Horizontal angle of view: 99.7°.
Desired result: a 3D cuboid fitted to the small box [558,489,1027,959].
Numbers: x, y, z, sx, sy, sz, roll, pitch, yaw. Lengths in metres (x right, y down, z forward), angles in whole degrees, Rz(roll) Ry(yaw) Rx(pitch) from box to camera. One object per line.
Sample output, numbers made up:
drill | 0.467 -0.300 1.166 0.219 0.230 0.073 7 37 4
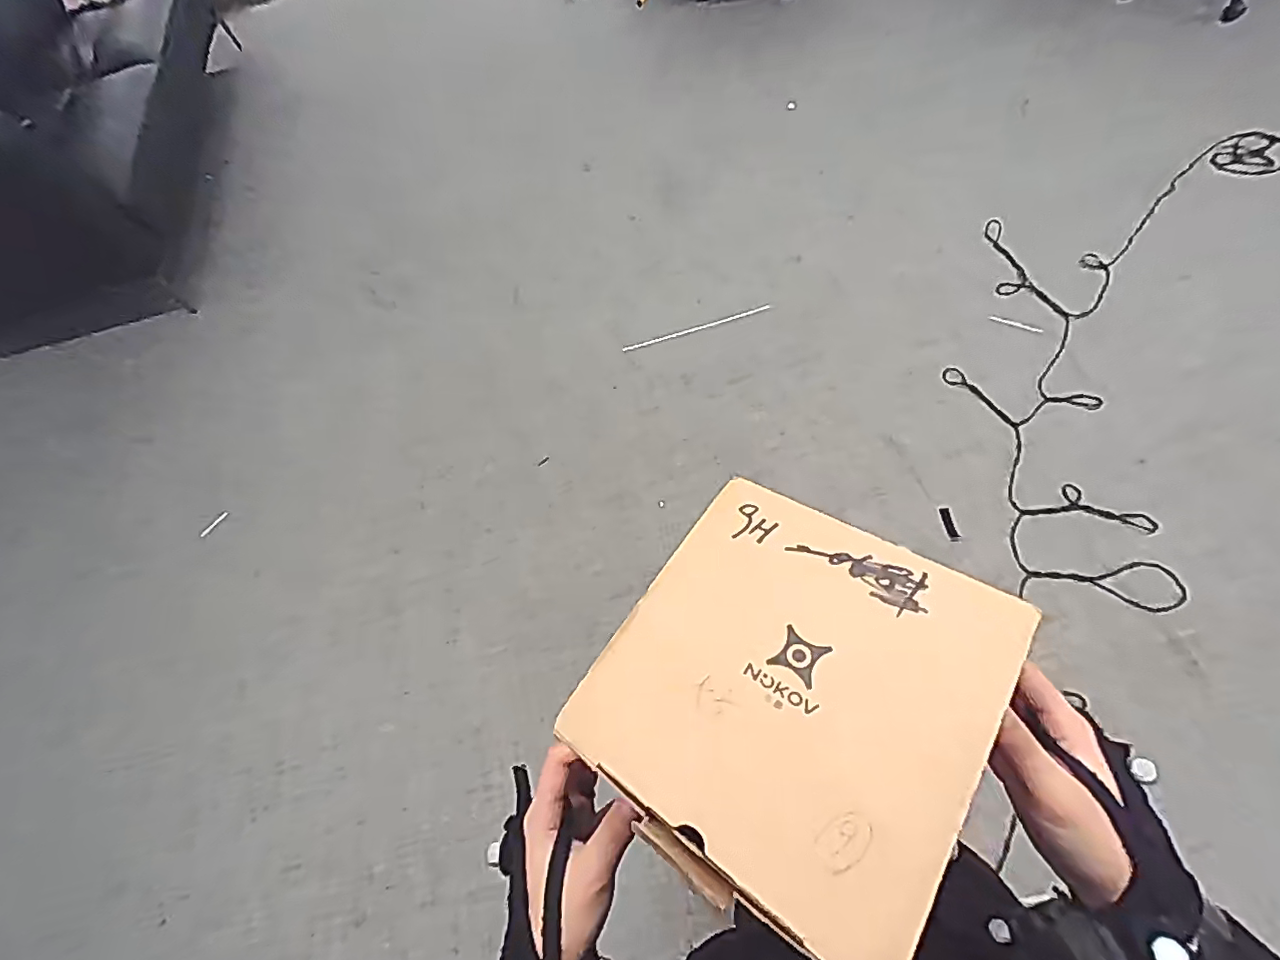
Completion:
small box | 0.088 0.143 0.324 0.168 0.176 0.179 26 65 30
